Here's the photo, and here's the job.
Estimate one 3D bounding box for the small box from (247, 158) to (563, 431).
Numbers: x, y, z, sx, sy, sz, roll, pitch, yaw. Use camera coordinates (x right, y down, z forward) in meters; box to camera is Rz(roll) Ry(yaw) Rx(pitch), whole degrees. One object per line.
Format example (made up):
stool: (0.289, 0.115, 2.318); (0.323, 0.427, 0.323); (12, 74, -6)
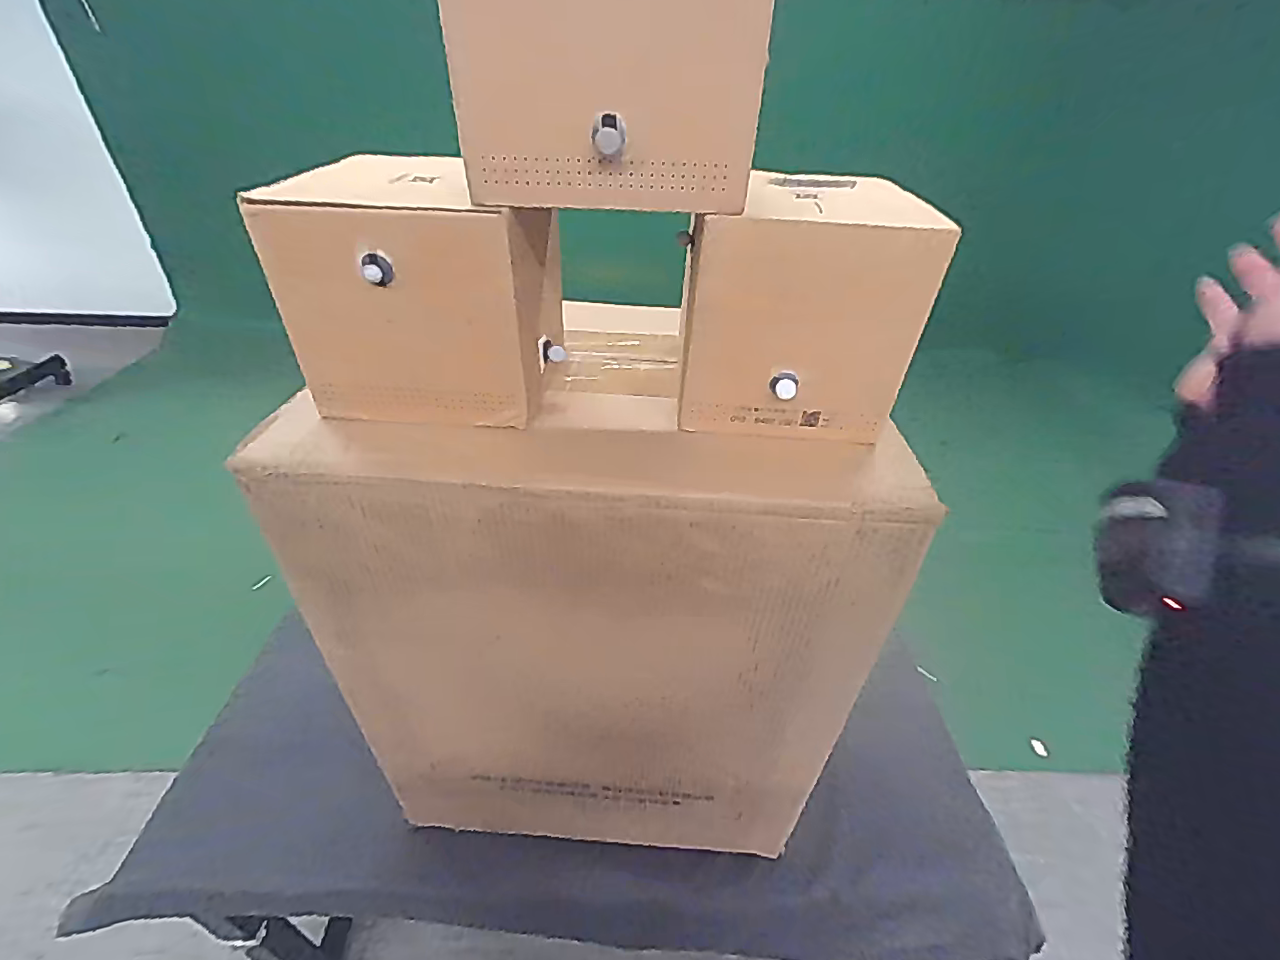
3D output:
small box: (-0.165, -0.156, 0.453); (0.179, 0.176, 0.168); (5, 40, 0)

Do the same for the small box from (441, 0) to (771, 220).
small box: (-0.018, -0.280, 0.353); (0.179, 0.176, 0.168); (2, 40, -2)

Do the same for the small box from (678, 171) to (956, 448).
small box: (0.121, -0.149, 0.461); (0.168, 0.176, 0.179); (4, 40, 0)
